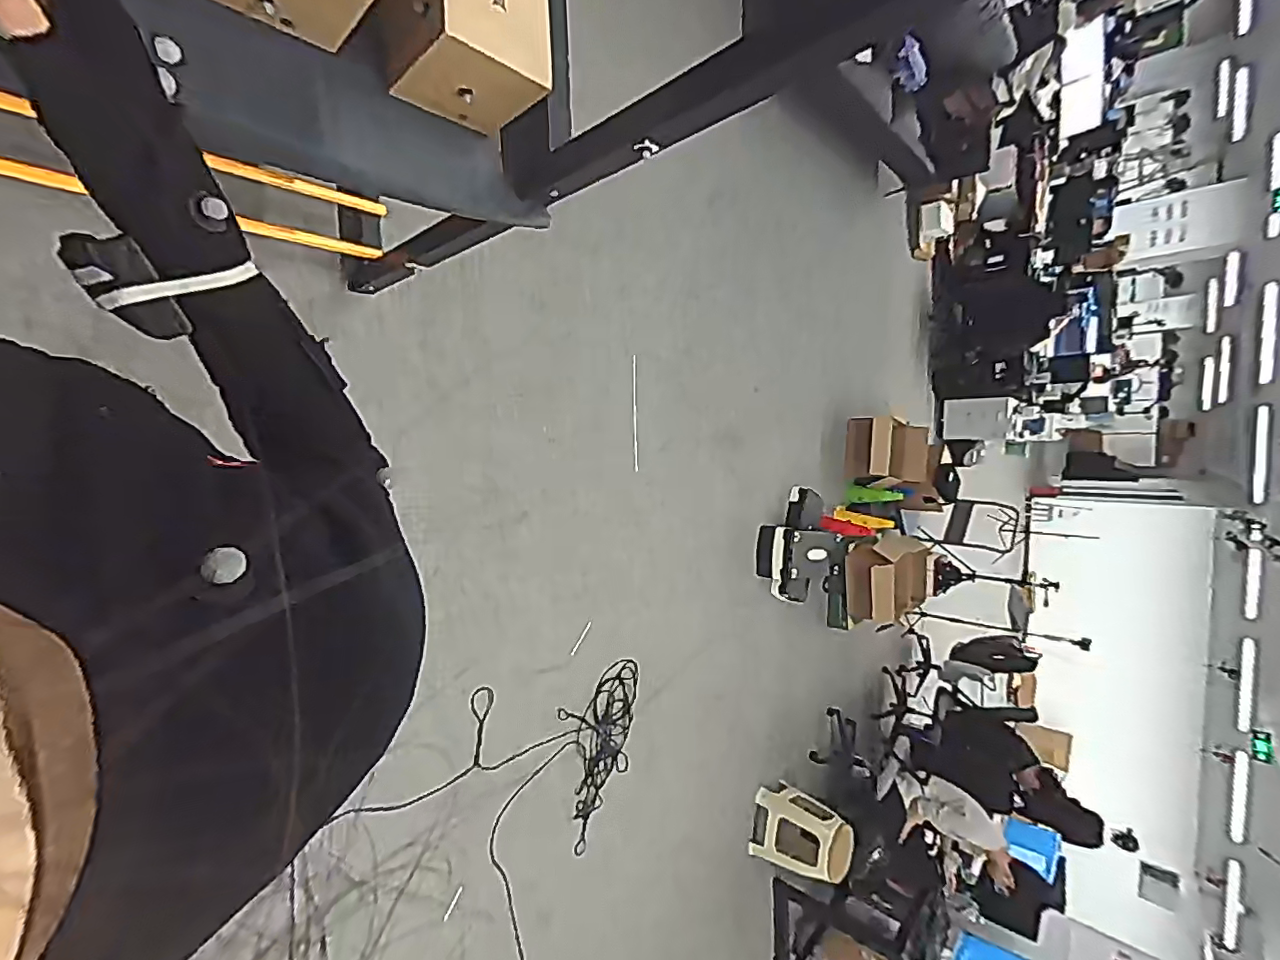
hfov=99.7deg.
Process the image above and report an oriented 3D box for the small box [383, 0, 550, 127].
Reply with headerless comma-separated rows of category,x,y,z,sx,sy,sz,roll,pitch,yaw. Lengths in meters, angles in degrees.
small box,-0.246,-0.643,0.764,0.168,0.176,0.179,-8,98,-48
